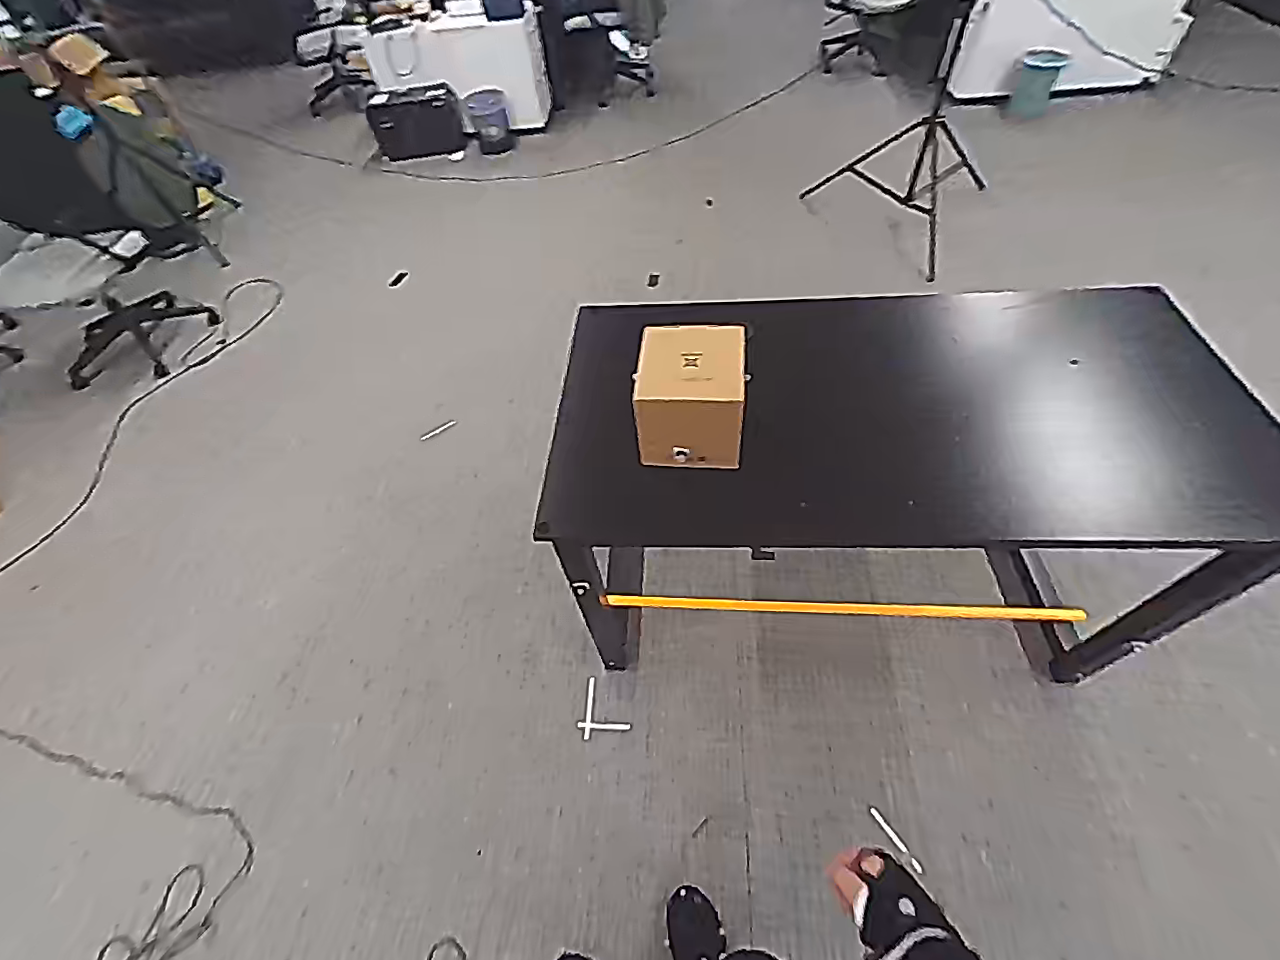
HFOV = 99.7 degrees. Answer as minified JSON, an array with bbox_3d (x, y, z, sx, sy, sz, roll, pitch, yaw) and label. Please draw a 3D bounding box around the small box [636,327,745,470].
[{"bbox_3d":[0.089,-0.137,0.913,0.168,0.176,0.179,1,55,8],"label":"small box"}]
